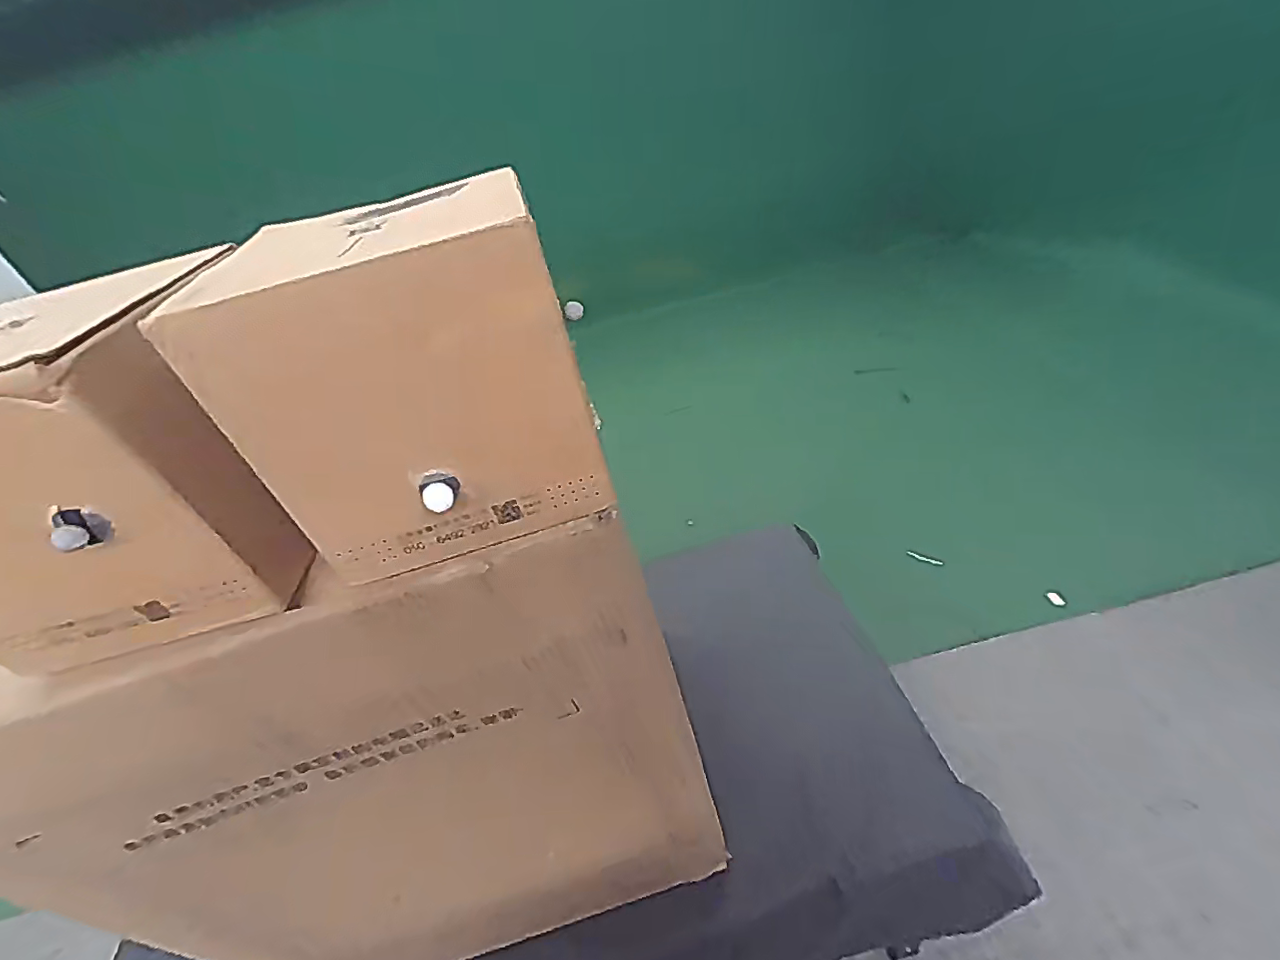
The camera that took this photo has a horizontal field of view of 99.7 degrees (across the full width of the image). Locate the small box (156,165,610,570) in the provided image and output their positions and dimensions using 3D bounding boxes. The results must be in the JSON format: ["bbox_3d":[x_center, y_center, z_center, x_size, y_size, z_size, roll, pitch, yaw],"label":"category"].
[{"bbox_3d":[-0.125,-0.075,0.340,0.168,0.176,0.179,-16,40,-3],"label":"small box"}]
